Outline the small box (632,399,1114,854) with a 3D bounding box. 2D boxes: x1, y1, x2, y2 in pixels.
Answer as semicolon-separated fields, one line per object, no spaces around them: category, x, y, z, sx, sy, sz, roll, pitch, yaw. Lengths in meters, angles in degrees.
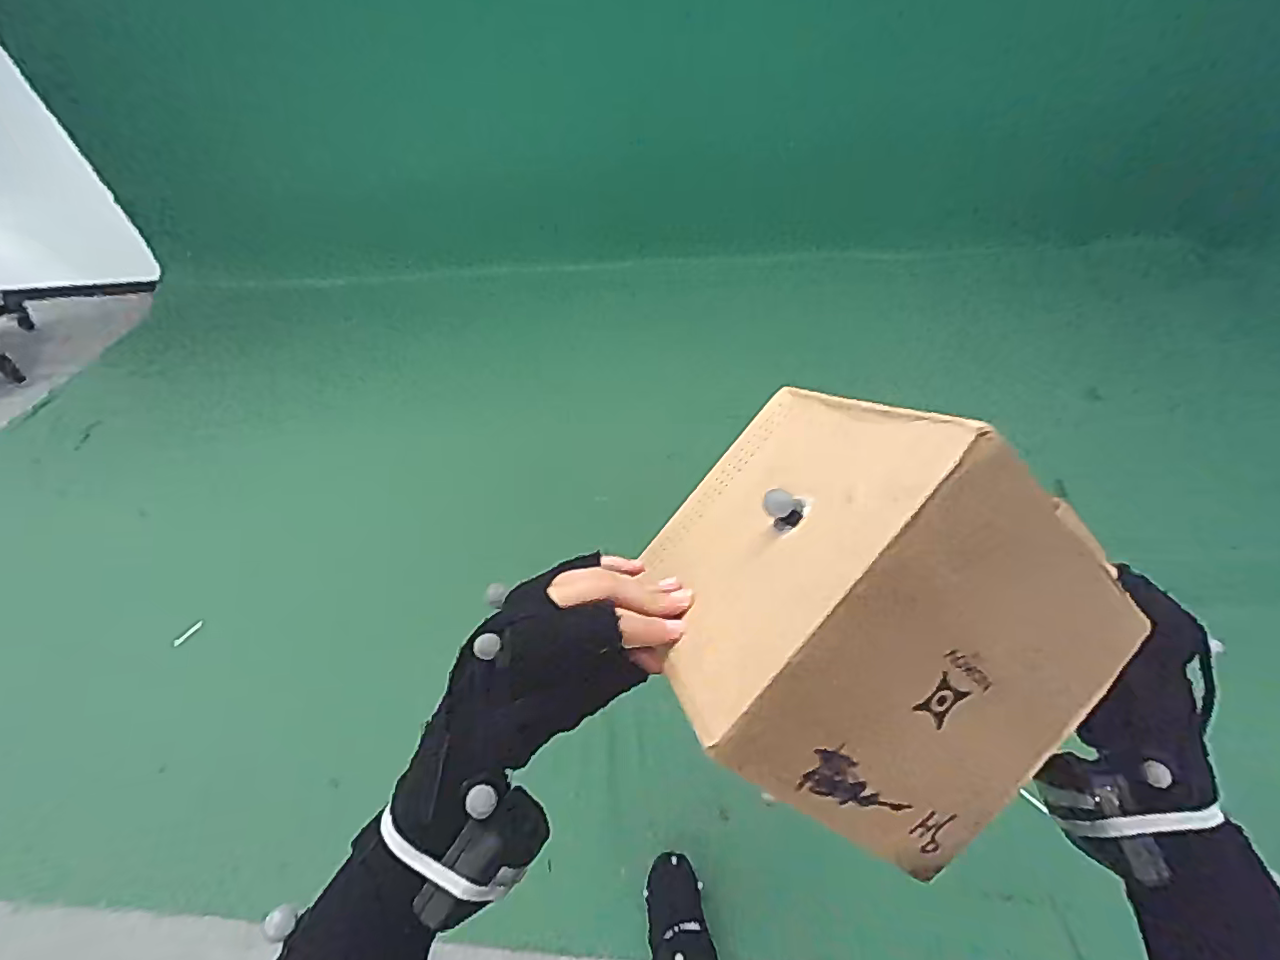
small box;0.117;0.068;0.334;0.179;0.168;0.176;-51;20;2
